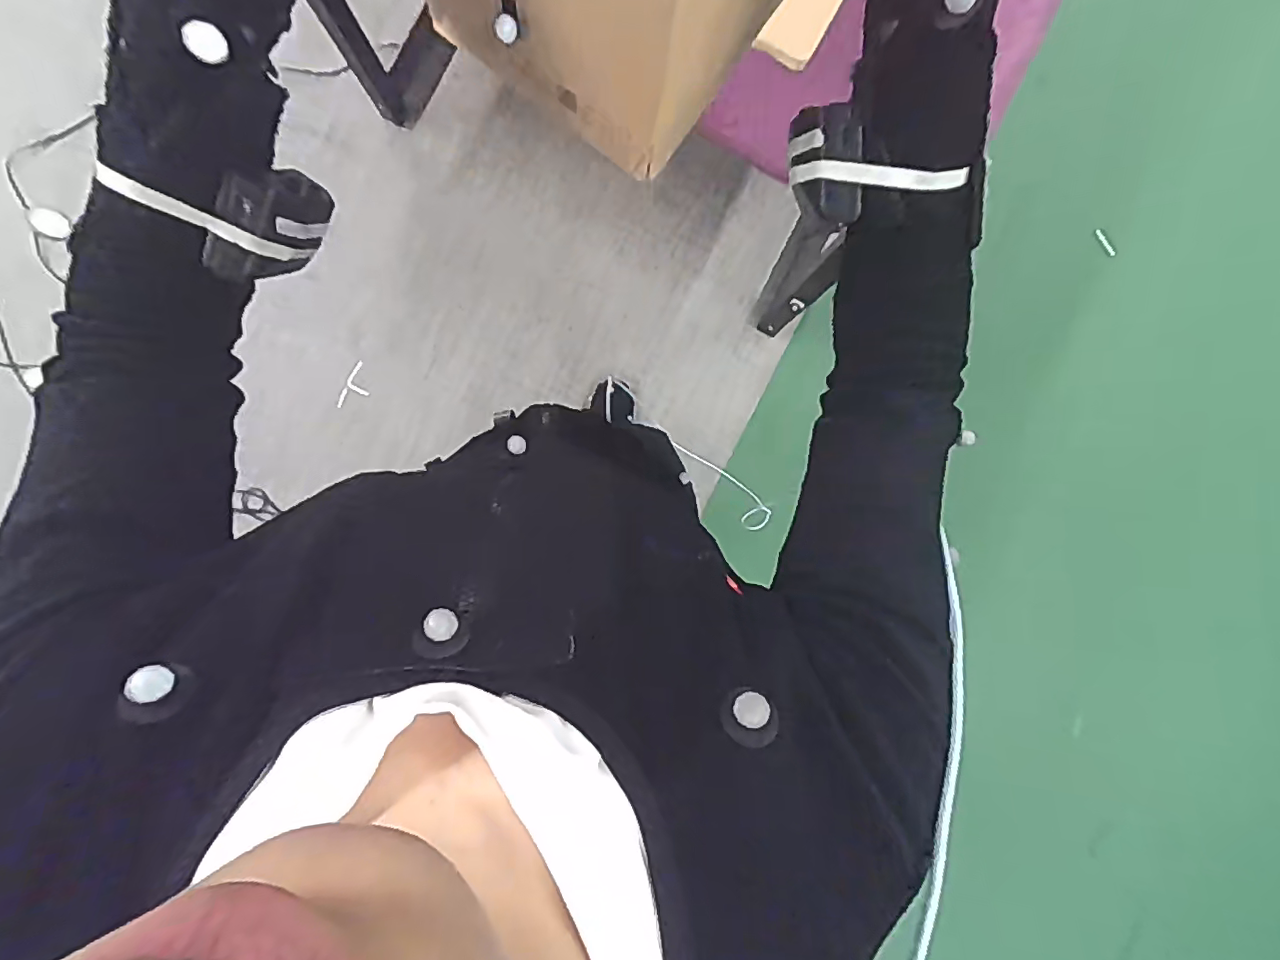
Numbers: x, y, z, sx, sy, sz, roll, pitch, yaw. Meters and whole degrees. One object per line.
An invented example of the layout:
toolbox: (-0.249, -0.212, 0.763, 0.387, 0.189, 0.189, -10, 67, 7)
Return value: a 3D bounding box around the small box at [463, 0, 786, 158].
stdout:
small box: (0.004, -0.316, 0.266, 0.168, 0.176, 0.179, 35, 86, -3)
